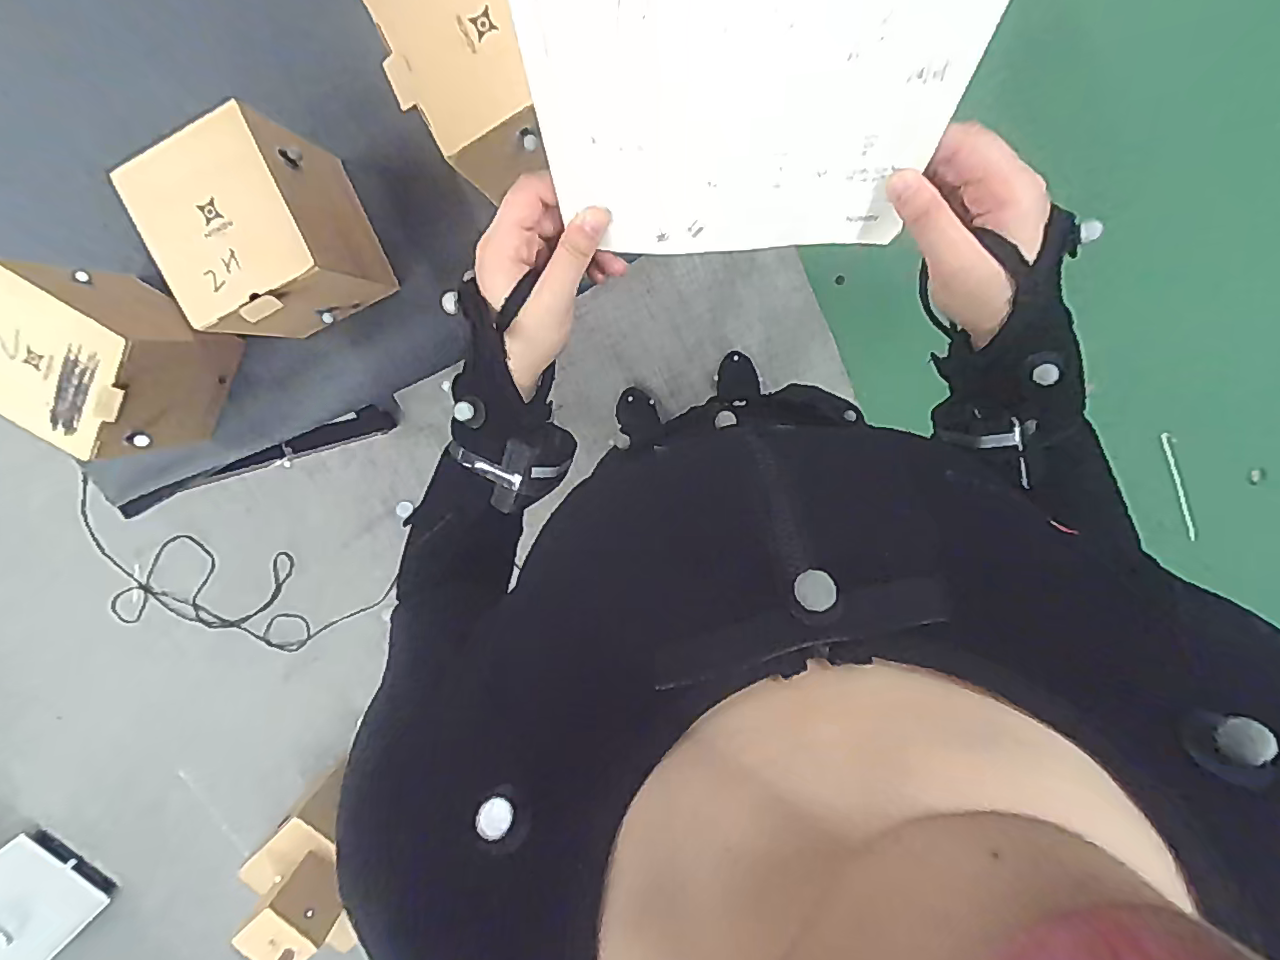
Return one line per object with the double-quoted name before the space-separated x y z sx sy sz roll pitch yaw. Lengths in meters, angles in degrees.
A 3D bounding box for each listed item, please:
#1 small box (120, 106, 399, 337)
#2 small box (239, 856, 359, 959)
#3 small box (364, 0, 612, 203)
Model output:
"small box" -0.429 -0.283 0.642 0.168 0.176 0.179 -22 99 10
"small box" -0.905 1.170 1.454 0.168 0.176 0.179 -44 96 11
"small box" -0.141 -0.435 0.582 0.179 0.176 0.168 -26 98 11
